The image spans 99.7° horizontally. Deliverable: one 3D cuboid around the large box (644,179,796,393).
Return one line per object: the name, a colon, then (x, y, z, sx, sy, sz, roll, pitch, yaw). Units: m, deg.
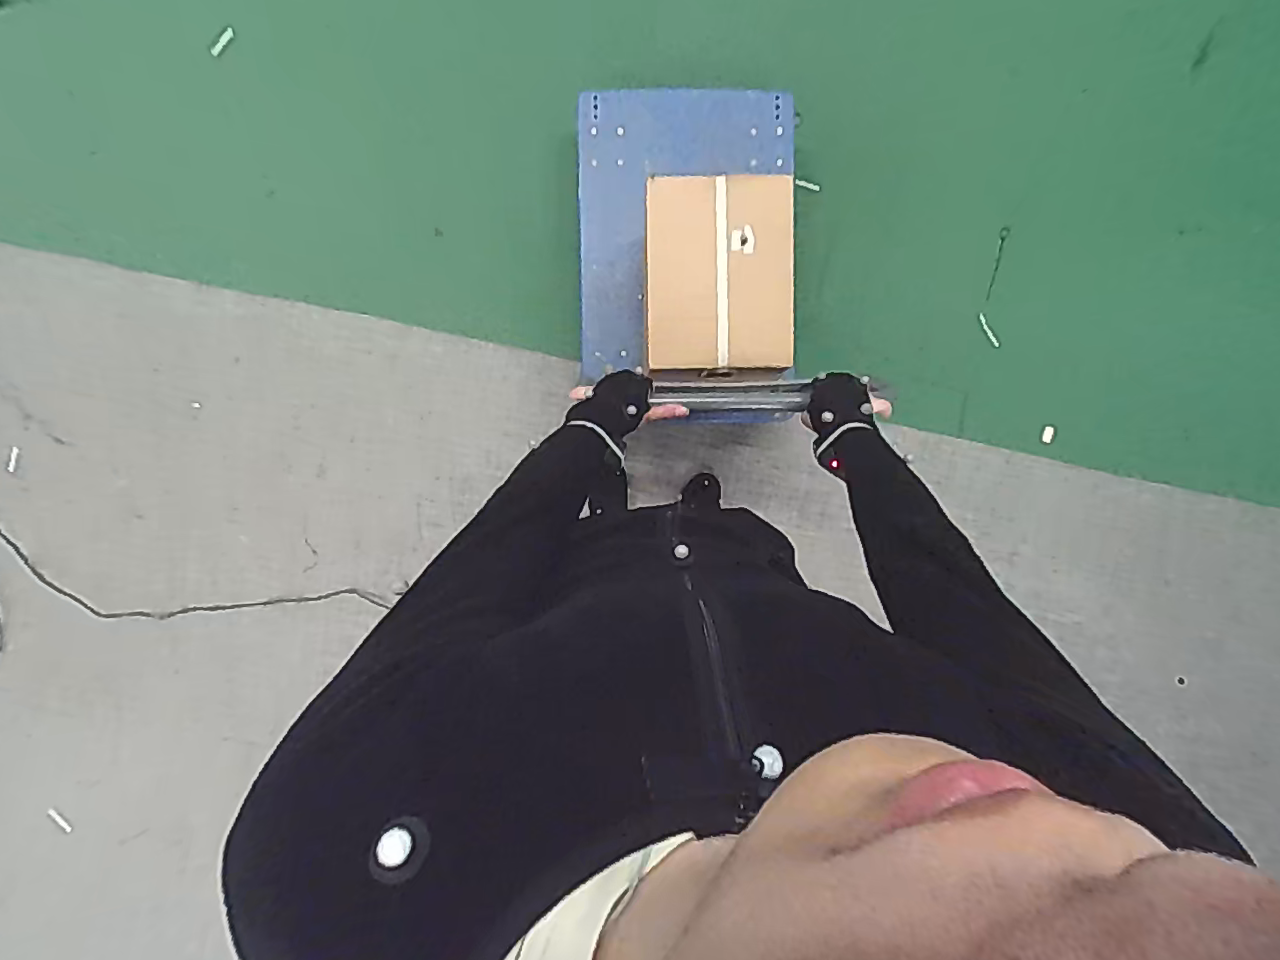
large box: (0.168, -0.431, 1.284, 0.320, 0.320, 0.408, -1, 91, -2)
